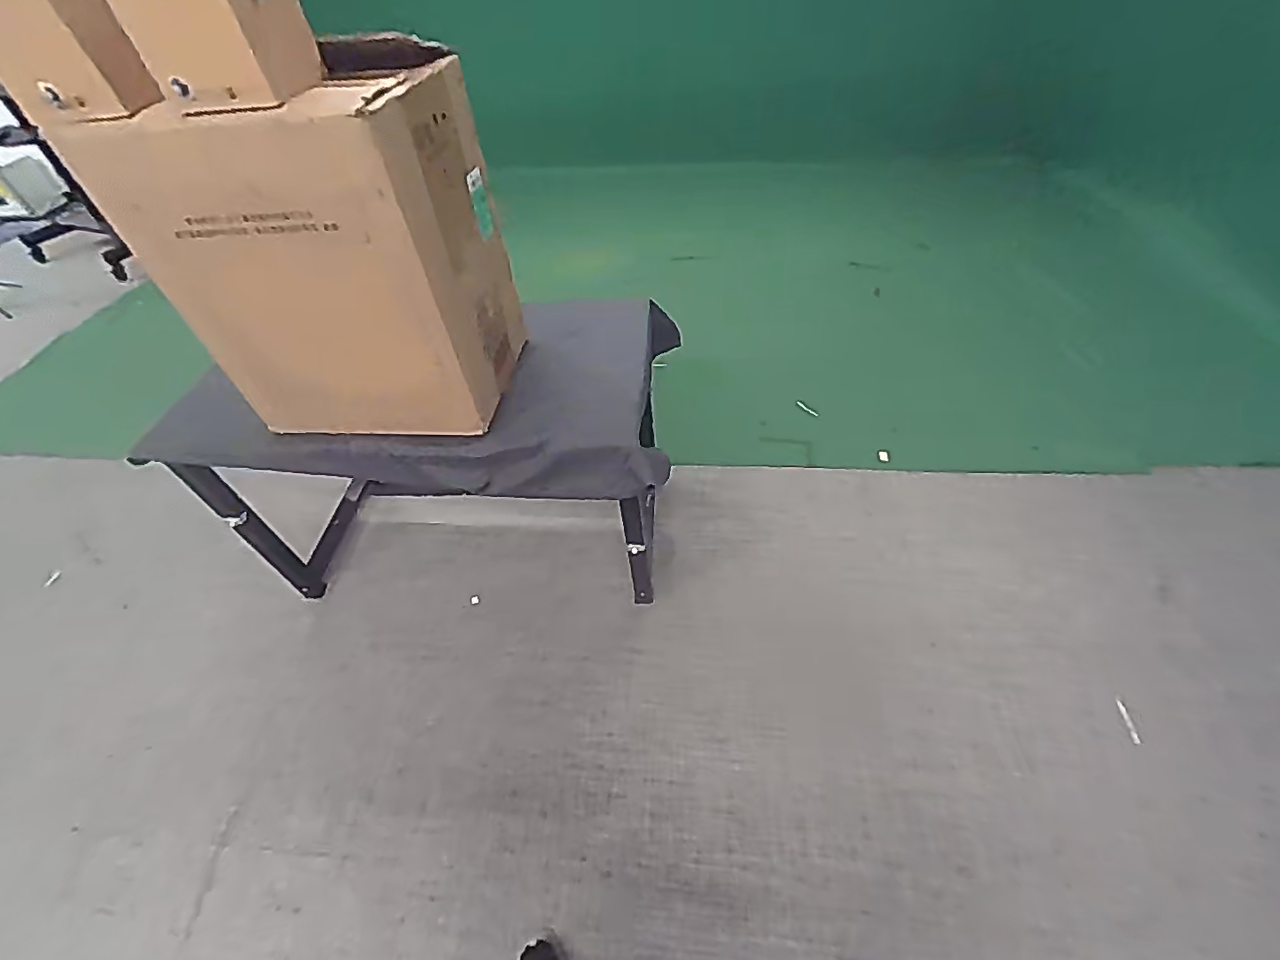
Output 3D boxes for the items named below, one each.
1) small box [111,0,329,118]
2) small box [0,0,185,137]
[{"bbox_3d":[-0.602,-0.653,0.800,0.168,0.176,0.179,0,48,5],"label":"small box"},{"bbox_3d":[-0.847,-0.656,0.837,0.168,0.176,0.179,-3,49,8],"label":"small box"}]
